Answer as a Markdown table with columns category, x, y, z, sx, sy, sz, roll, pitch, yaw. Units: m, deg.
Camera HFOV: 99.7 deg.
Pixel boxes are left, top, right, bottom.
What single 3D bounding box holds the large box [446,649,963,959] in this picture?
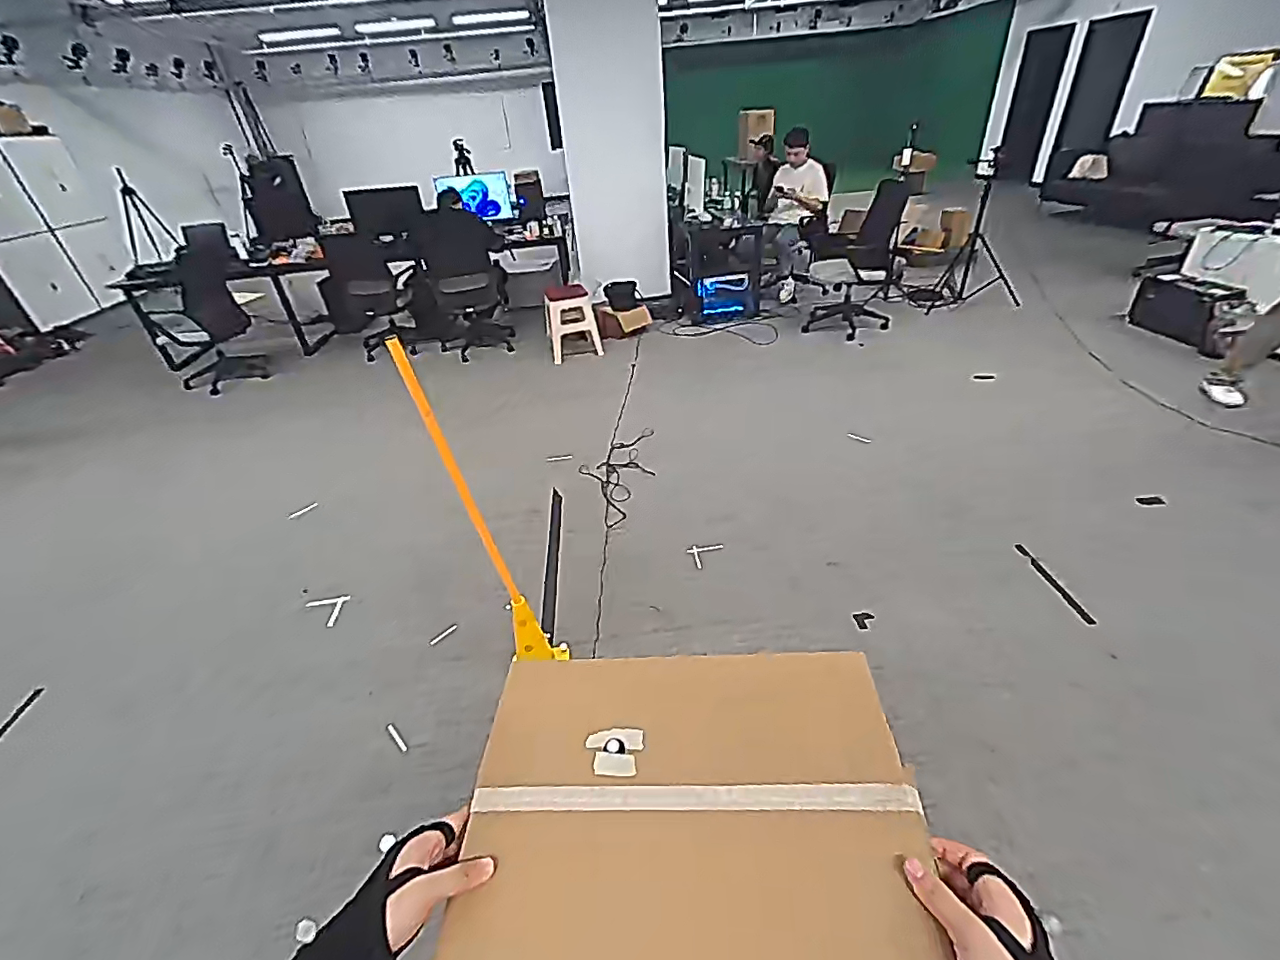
| category | x | y | z | sx | sy | sz | roll | pitch | yaw |
| --- | --- | --- | --- | --- | --- | --- | --- | --- | --- |
| large box | 0.067 | 0.419 | 0.592 | 0.408 | 0.320 | 0.320 | -6 | 34 | 8 |
